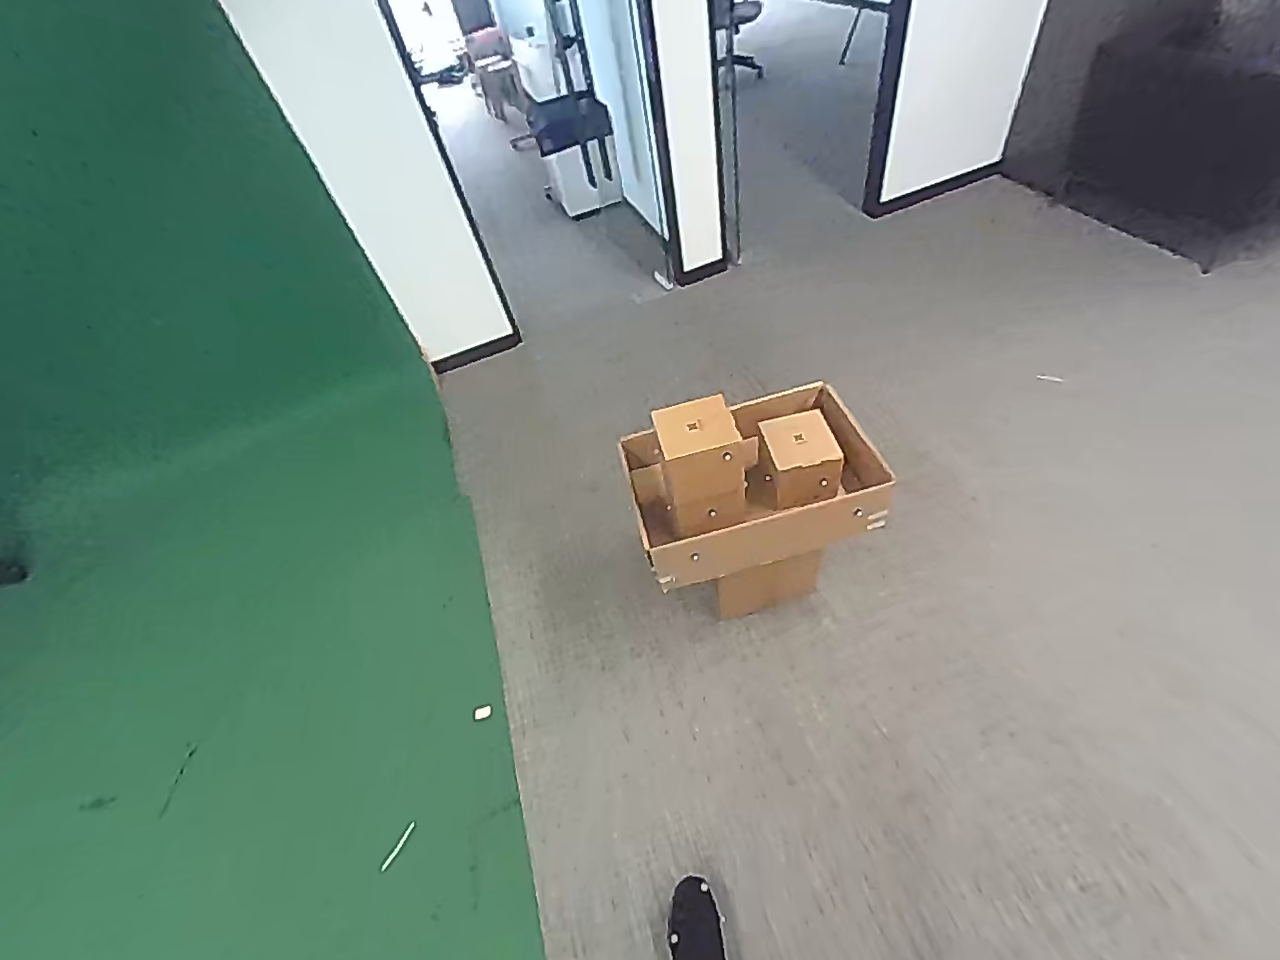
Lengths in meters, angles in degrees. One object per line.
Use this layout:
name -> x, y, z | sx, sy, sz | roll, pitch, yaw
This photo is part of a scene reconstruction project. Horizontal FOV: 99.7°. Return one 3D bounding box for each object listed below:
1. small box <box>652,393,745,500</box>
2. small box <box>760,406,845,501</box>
small box -> 0.141, -0.074, 1.284 | 0.179, 0.176, 0.168 | -15, 49, 0
small box -> 0.420, -0.062, 1.416 | 0.168, 0.176, 0.179 | -12, 50, 3
